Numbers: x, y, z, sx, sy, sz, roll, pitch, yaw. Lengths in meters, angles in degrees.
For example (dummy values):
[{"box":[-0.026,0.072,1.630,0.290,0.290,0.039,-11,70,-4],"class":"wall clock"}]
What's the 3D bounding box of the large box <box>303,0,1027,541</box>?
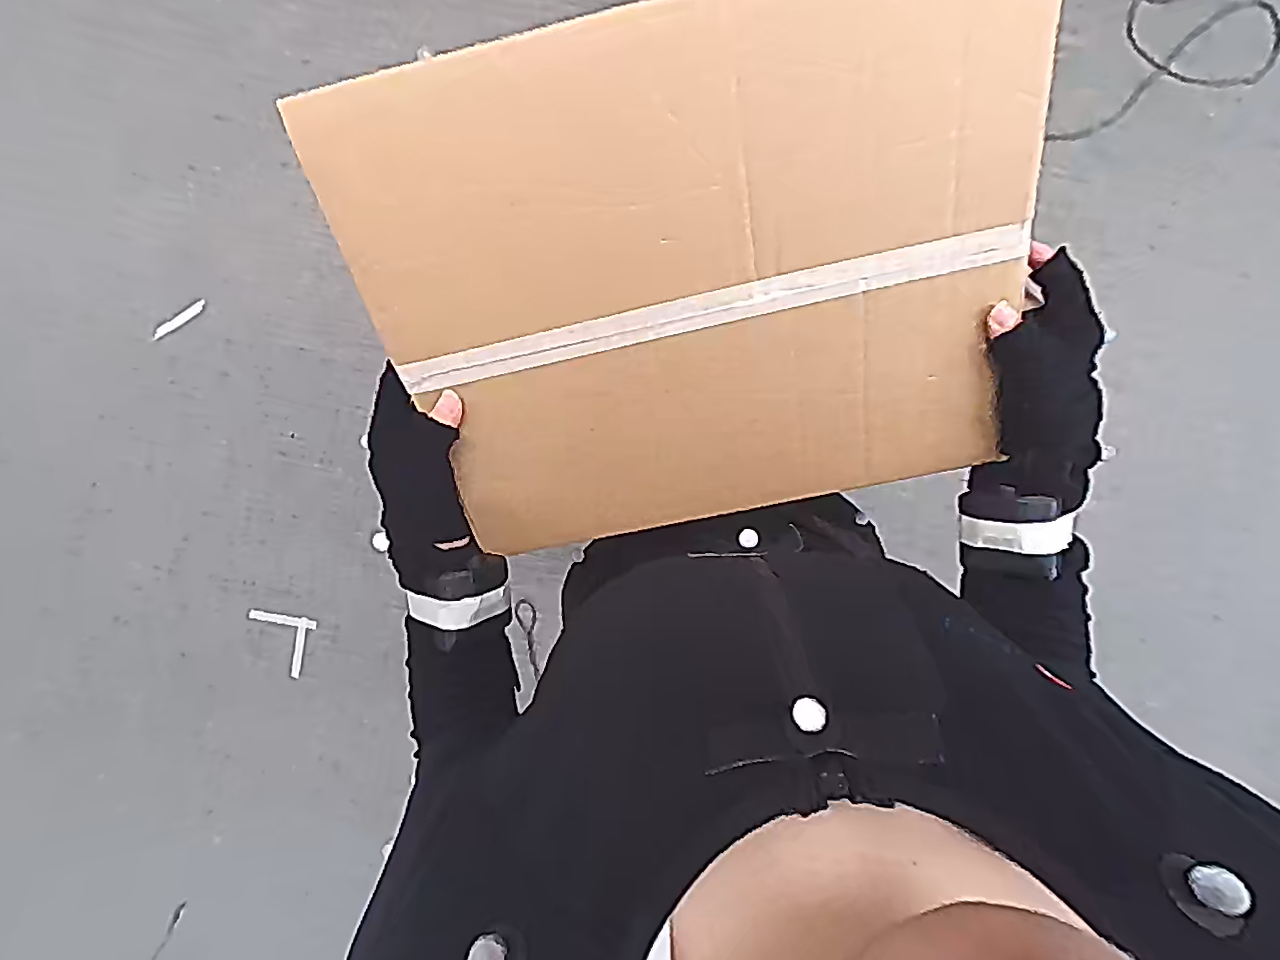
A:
[{"box":[0.029,-0.192,0.484,0.408,0.320,0.320,-12,121,4],"class":"large box"}]
